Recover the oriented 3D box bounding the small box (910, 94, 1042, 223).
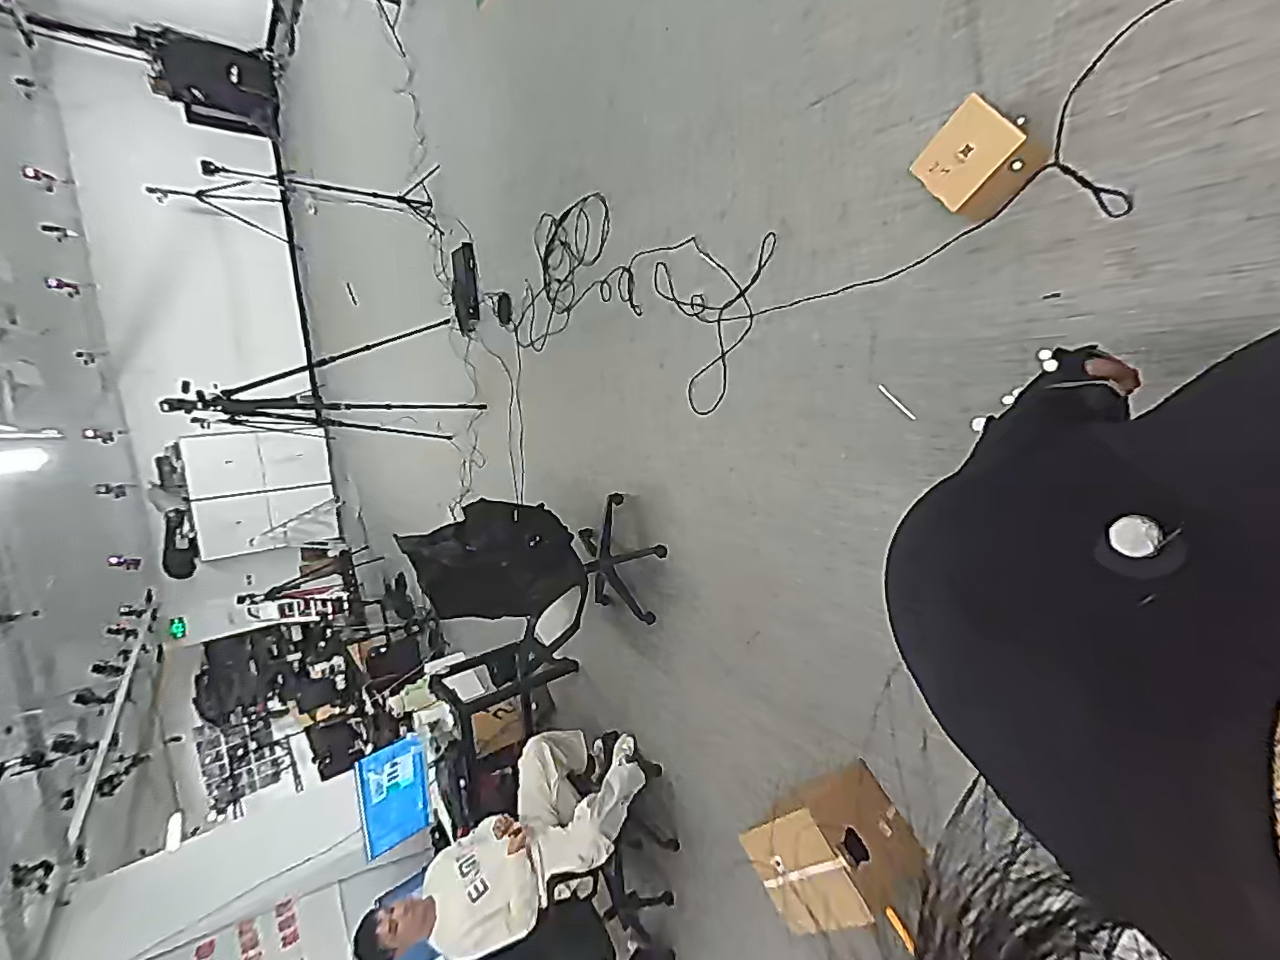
[{"bbox_3d":[0.762,-0.714,1.220,0.179,0.176,0.168,-51,58,45],"label":"small box"}]
